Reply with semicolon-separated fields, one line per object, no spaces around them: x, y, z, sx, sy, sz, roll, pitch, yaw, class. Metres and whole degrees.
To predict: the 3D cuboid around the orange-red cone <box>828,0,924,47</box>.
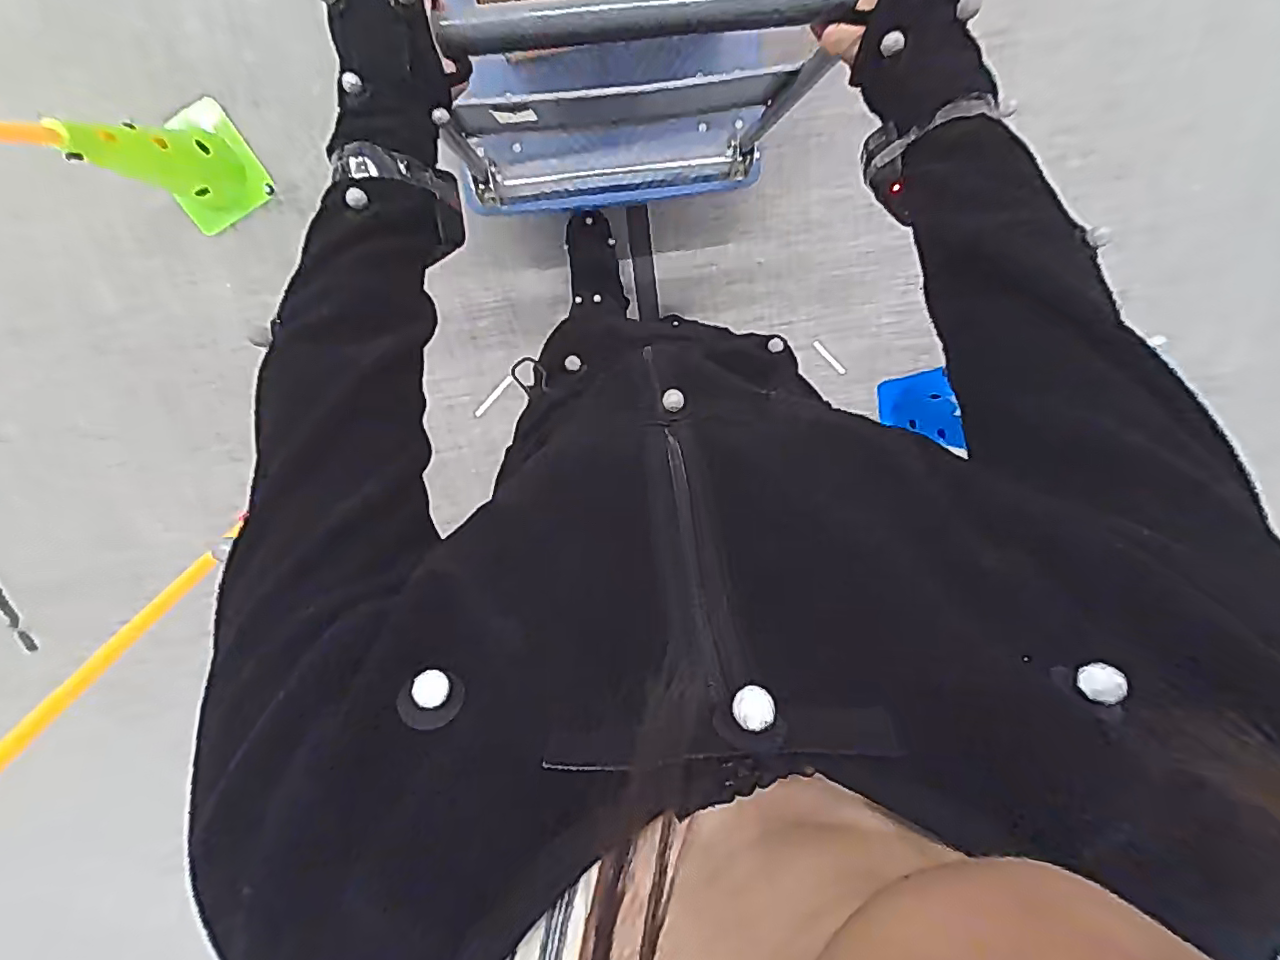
0.503;-0.939;0.944;0.199;0.360;0.198;-4;113;-4;orange-red cone

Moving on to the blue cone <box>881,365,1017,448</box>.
0.758;-0.140;1.300;0.193;0.380;0.192;-13;111;1;blue cone
